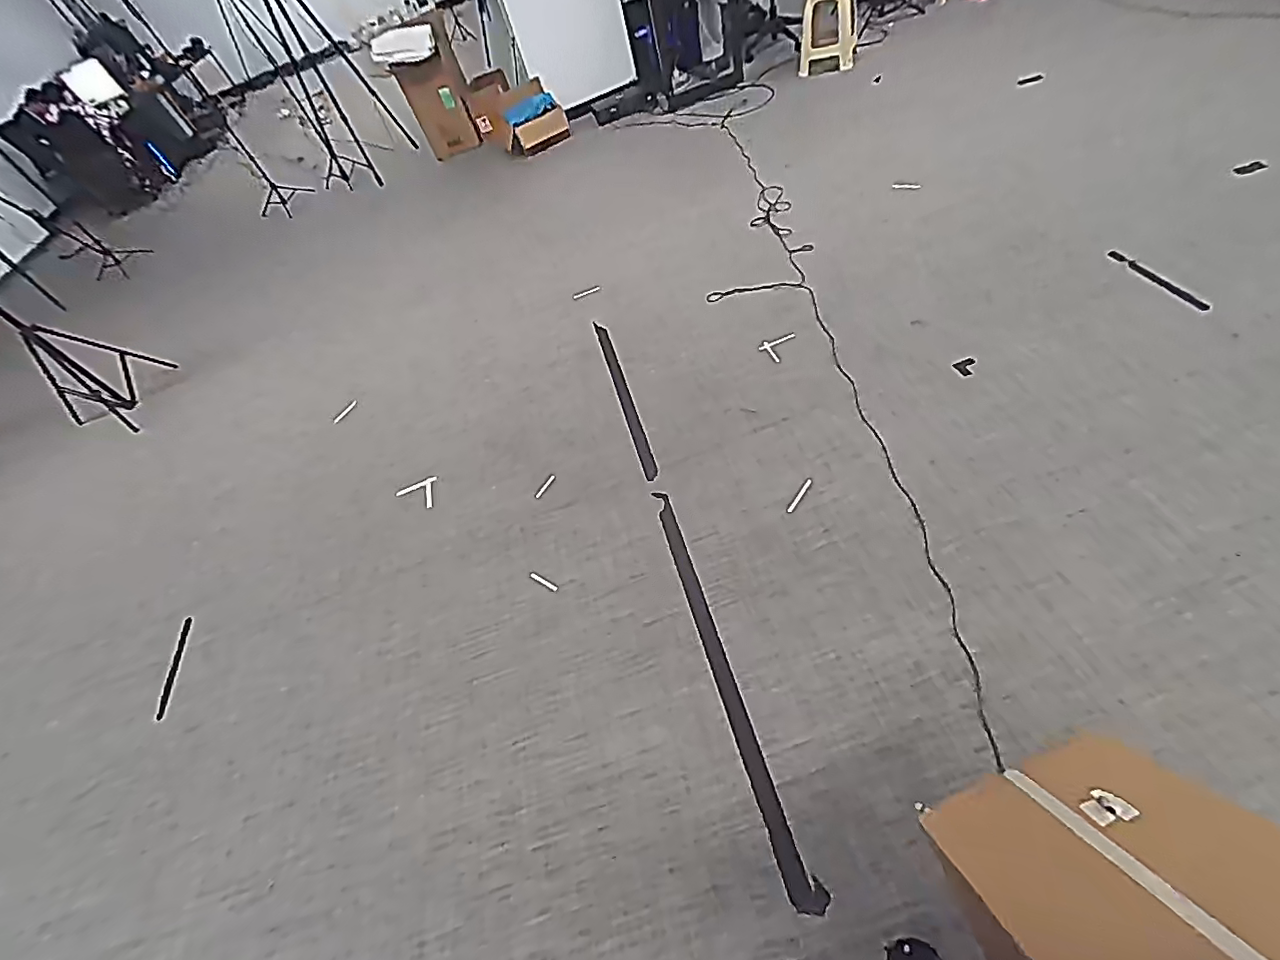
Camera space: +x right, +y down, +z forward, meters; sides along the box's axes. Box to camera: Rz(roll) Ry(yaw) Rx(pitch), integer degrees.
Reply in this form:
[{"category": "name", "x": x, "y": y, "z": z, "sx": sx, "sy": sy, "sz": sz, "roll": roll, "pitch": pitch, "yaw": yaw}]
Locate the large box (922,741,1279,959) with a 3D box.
[{"category": "large box", "x": 0.627, "y": 0.588, "z": 0.623, "sx": 0.320, "sy": 0.408, "sz": 0.320, "roll": -24, "pitch": 87, "yaw": 1}]
